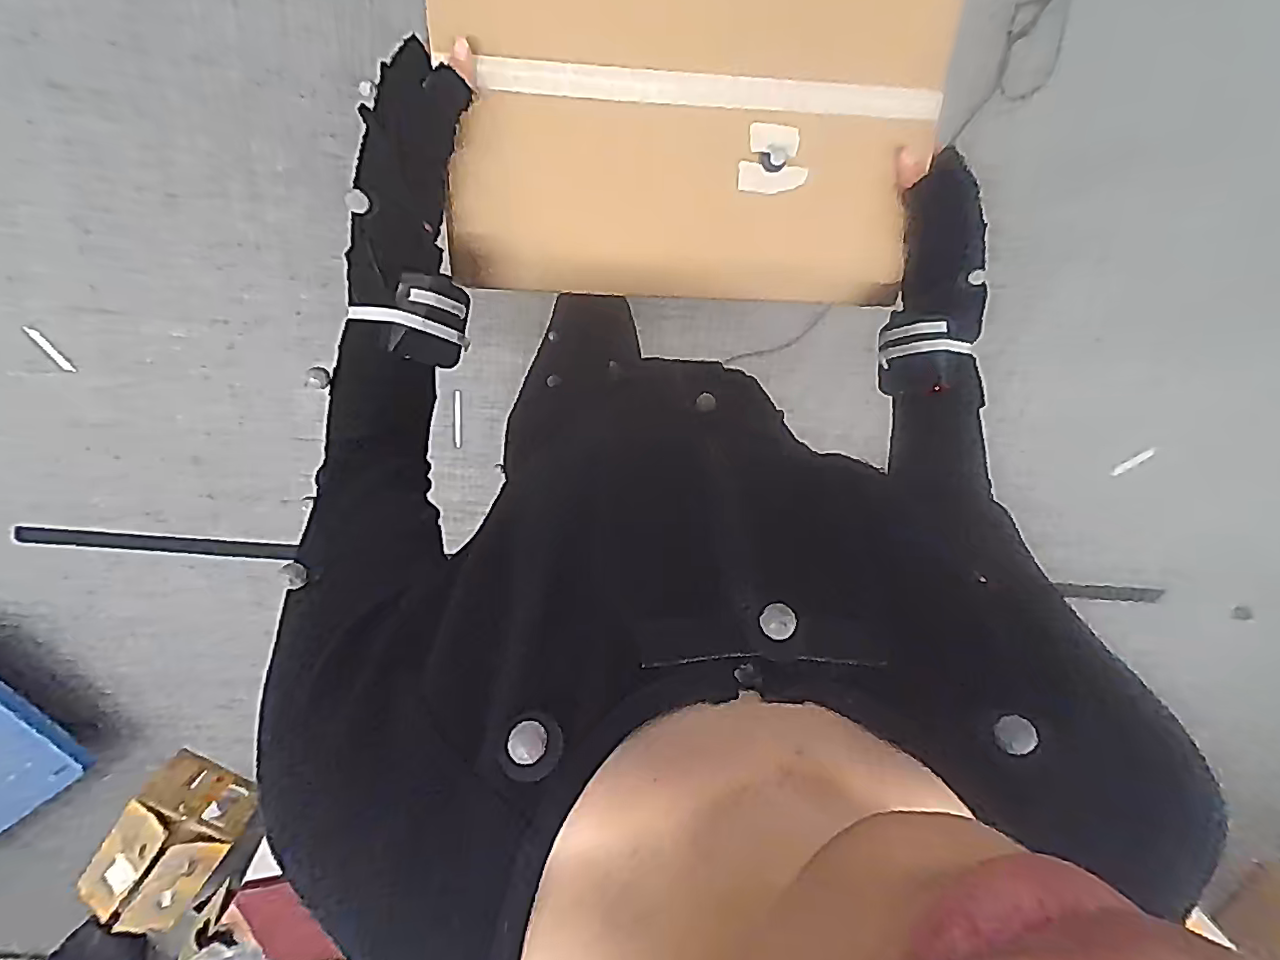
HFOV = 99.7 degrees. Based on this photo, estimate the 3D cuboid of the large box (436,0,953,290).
[{"bbox_3d":[0.031,-0.377,0.567,0.408,0.320,0.320,0,114,-6],"label":"large box"}]
